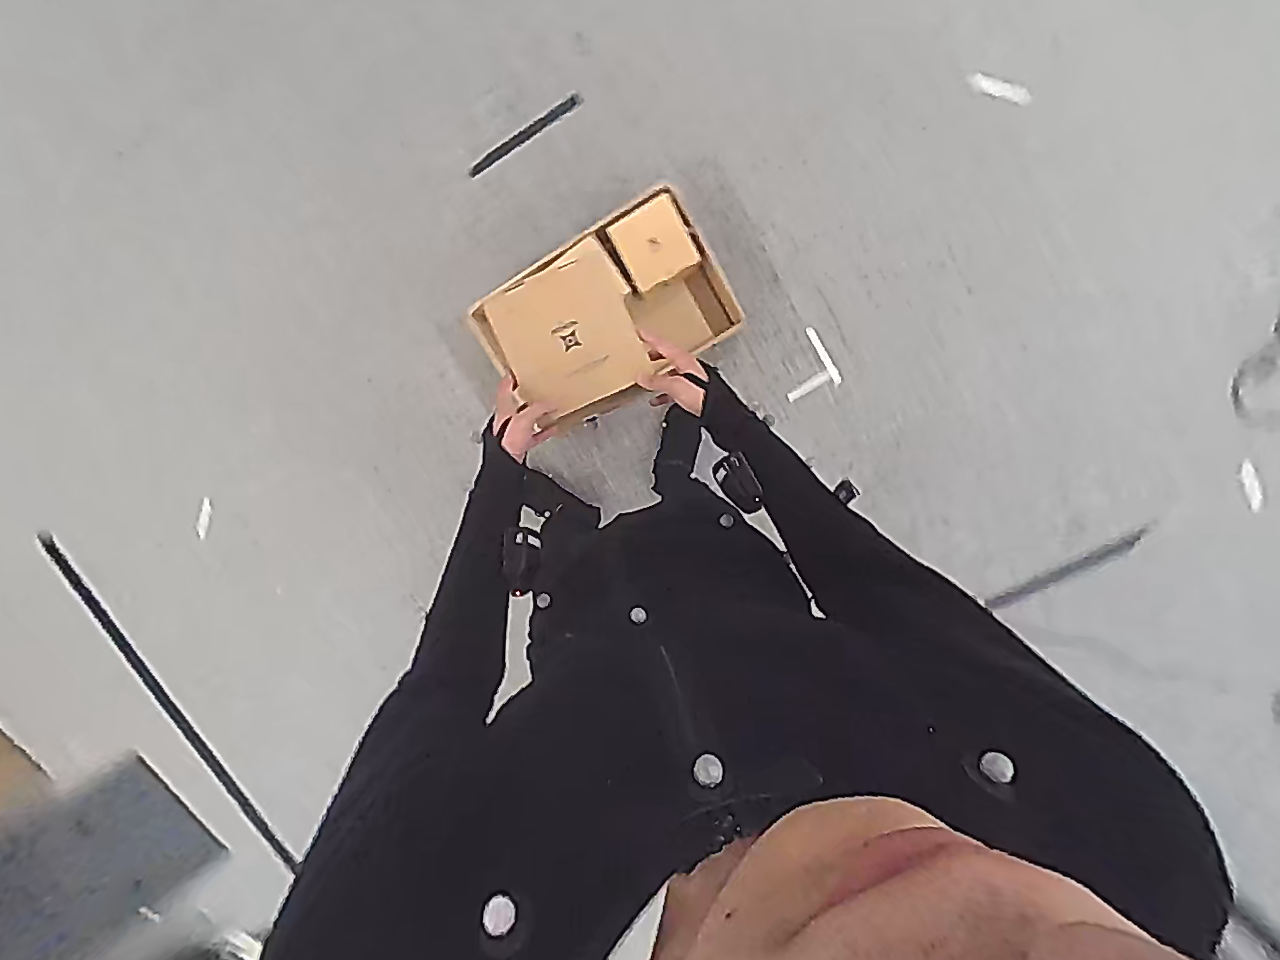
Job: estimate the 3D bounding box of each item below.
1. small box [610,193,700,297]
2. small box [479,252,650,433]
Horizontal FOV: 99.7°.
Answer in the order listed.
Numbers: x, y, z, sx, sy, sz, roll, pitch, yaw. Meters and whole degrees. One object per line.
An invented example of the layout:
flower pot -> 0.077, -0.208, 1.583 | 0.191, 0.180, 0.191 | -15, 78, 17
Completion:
small box -> 0.039, -0.594, 1.391 | 0.168, 0.176, 0.179 | -28, 101, 8
small box -> -0.099, -0.179, 0.759 | 0.168, 0.176, 0.179 | -26, 92, -2
